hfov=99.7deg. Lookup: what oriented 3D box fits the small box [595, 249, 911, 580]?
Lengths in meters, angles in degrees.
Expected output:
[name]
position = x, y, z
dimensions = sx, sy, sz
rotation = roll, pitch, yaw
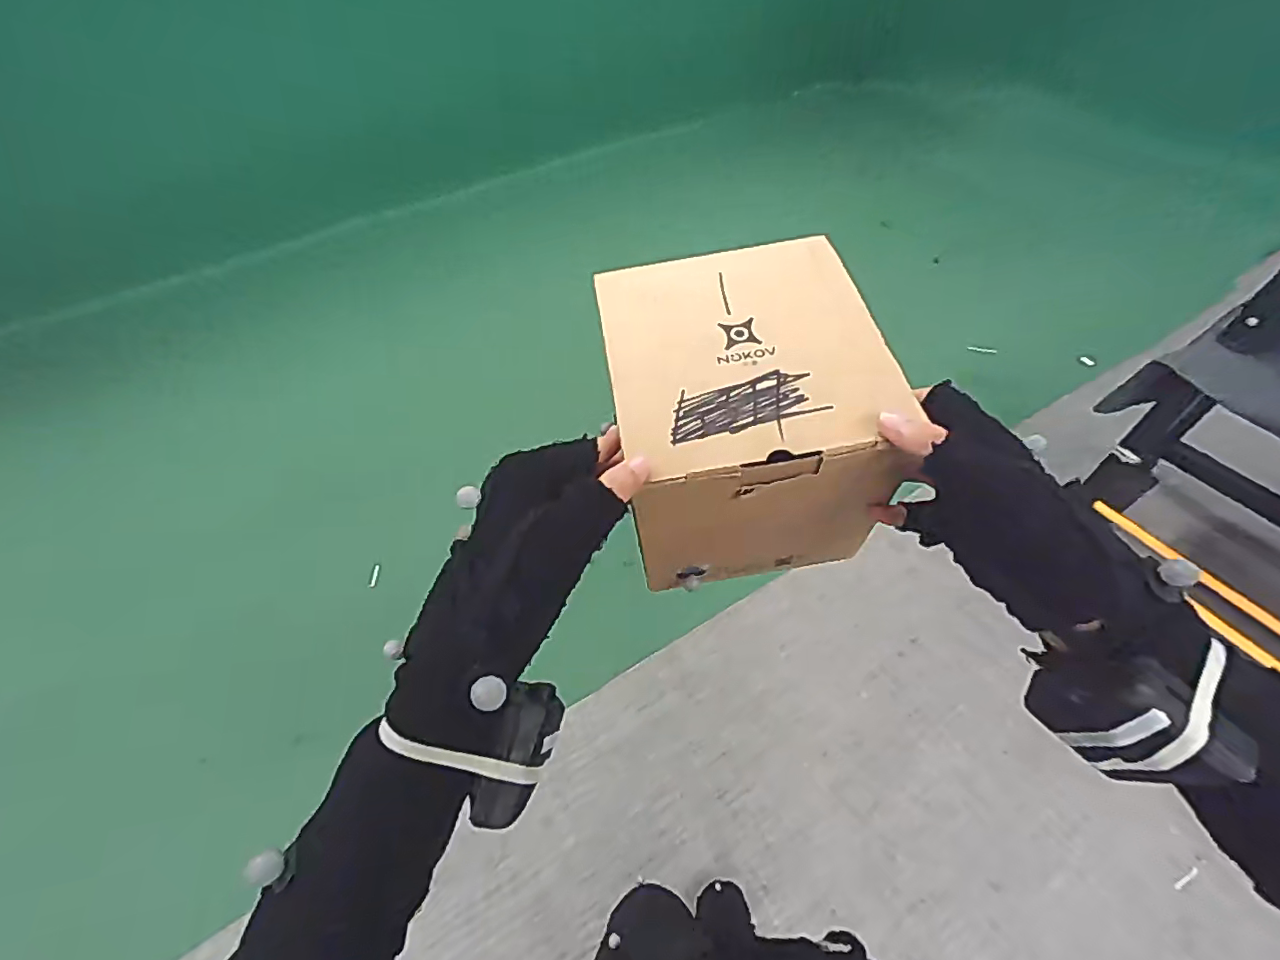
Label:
[small box]
position = 0.066, -0.036, 0.406
dimensions = 0.168, 0.176, 0.179
rotation = -9, 59, 0
